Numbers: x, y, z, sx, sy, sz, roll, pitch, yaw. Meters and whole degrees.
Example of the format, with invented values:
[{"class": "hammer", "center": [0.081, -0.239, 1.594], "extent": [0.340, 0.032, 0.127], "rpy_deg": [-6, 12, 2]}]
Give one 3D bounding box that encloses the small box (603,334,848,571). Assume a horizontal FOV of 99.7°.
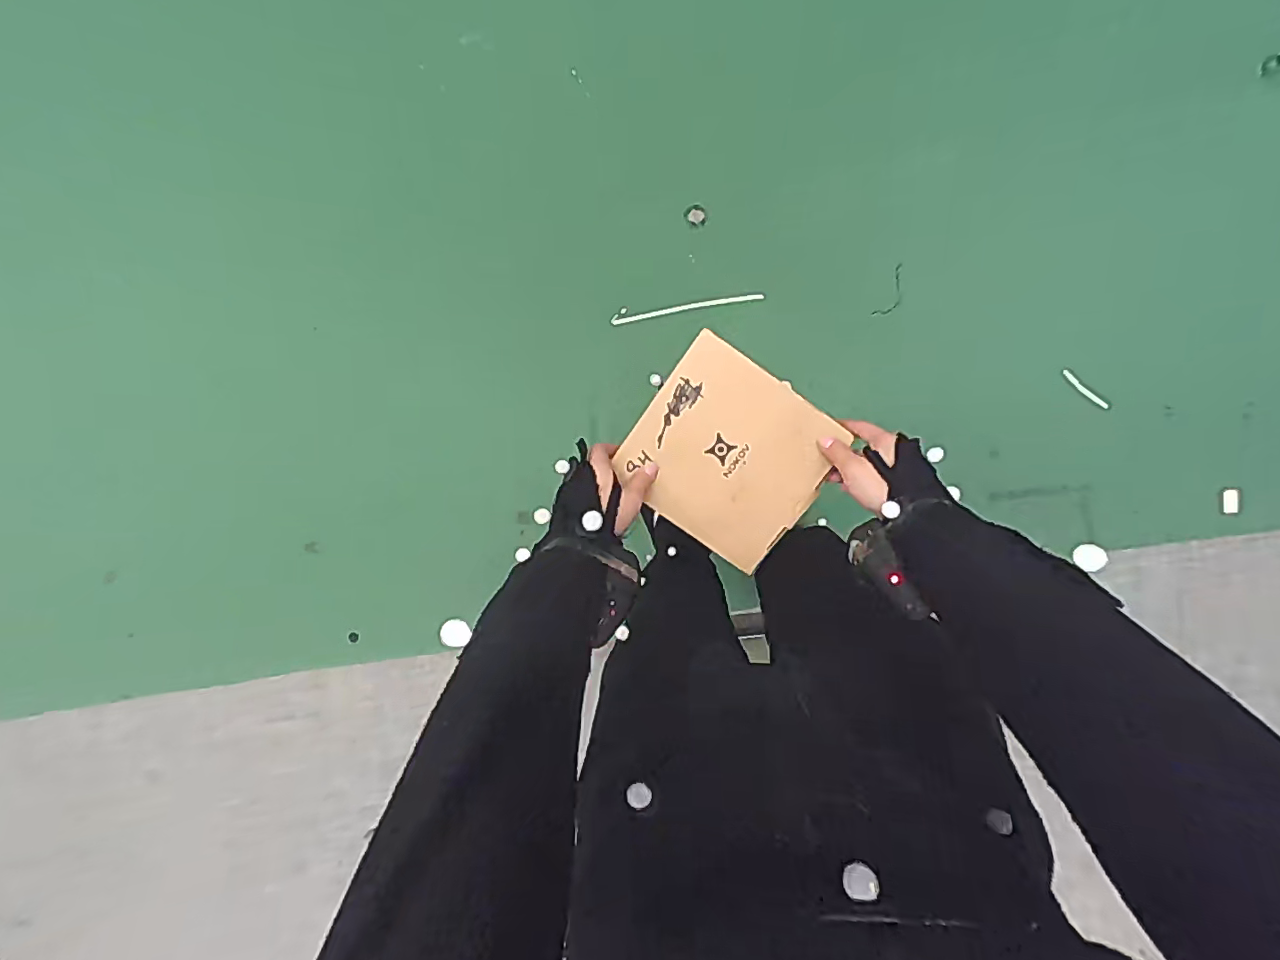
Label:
[{"class": "small box", "center": [0.083, -0.037, 0.589], "extent": [0.179, 0.176, 0.168], "rpy_deg": [36, 98, -4]}]
